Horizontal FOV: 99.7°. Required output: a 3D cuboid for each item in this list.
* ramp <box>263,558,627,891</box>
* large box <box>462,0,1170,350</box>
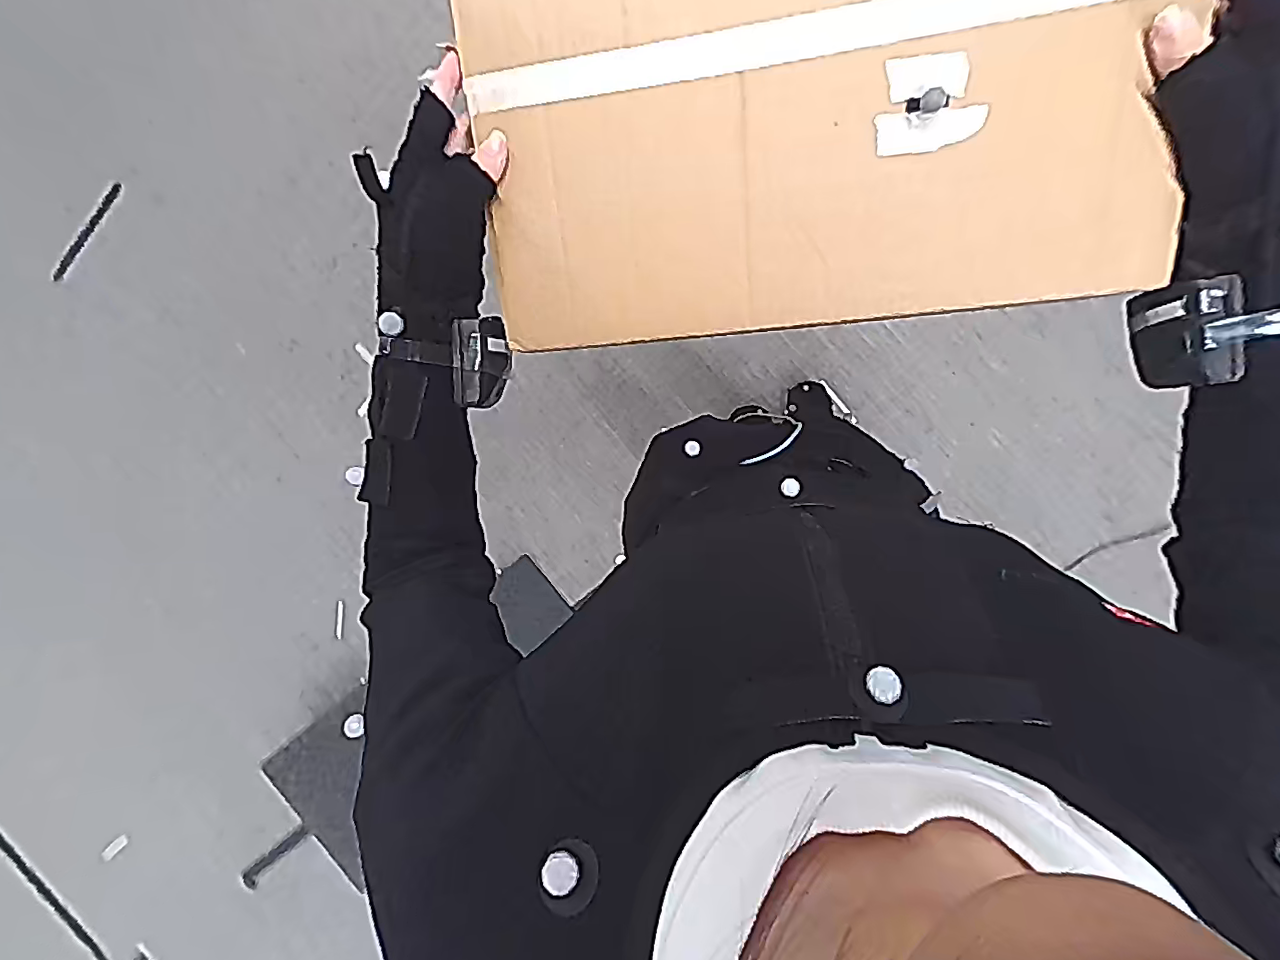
[{"bbox_3d":[-0.572,0.712,1.581,0.991,0.206,0.509,-40,89,11],"label":"ramp"},{"bbox_3d":[0.107,-0.297,0.463,0.408,0.320,0.320,-5,105,8],"label":"large box"}]
